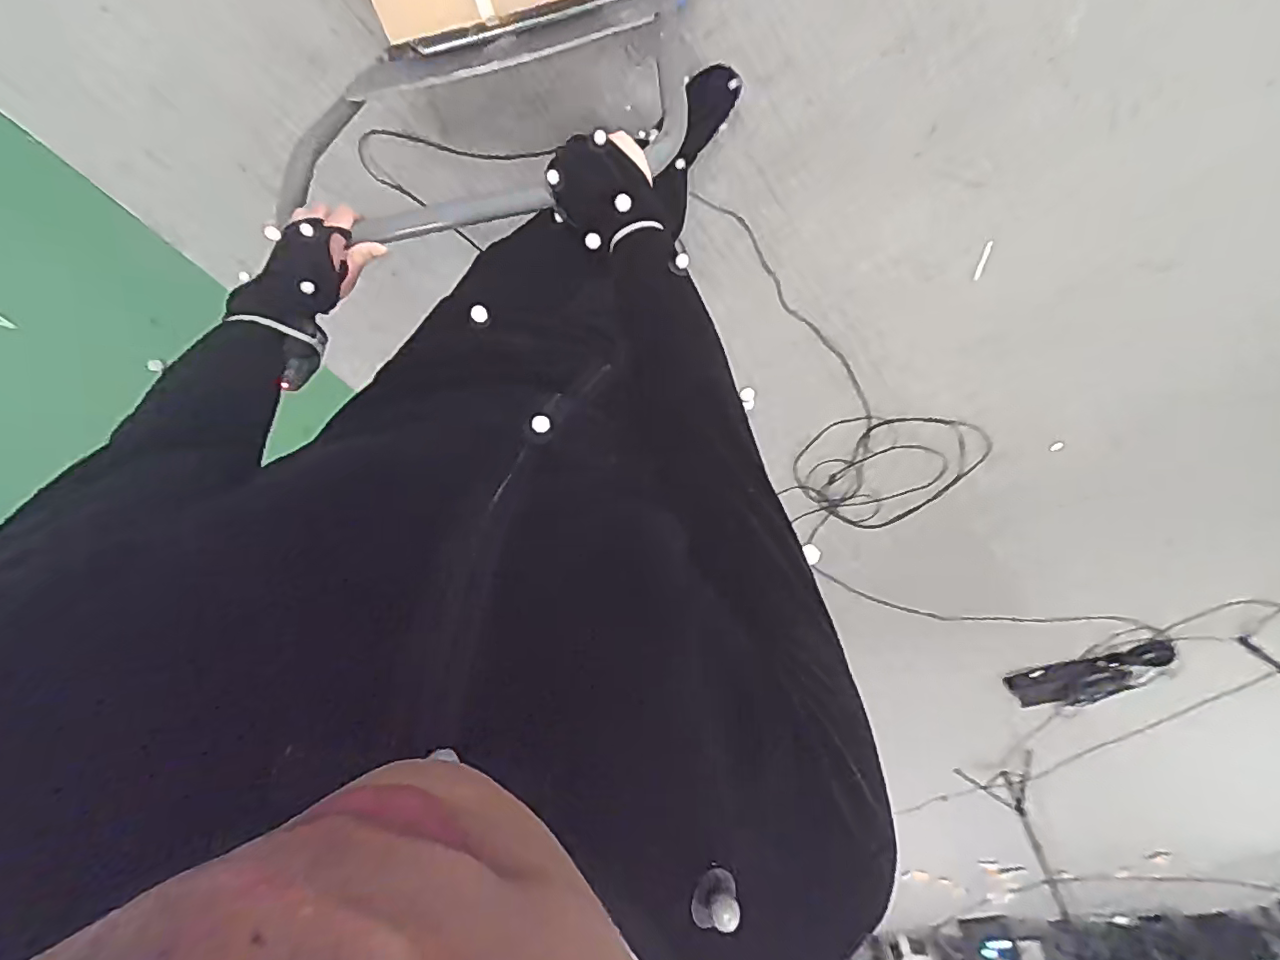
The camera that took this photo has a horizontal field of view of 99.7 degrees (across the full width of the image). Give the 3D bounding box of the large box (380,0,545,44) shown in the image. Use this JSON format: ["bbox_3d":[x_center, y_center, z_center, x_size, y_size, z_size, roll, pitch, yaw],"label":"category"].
[{"bbox_3d":[-0.241,-0.894,0.718,0.320,0.320,0.408,-7,138,10],"label":"large box"}]
